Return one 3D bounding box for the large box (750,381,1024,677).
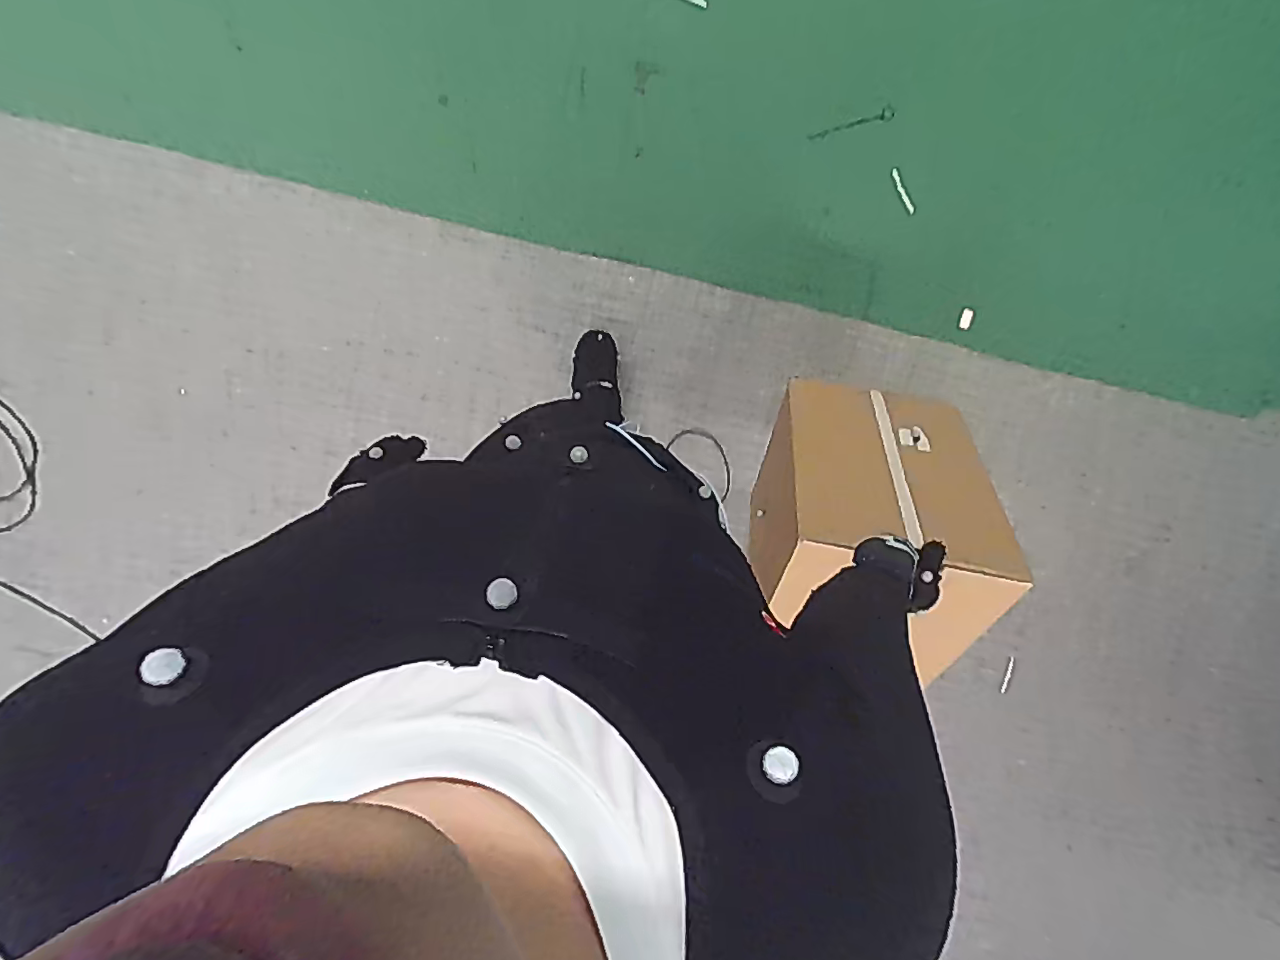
[{"bbox_3d":[0.383,0.079,0.973,0.320,0.408,0.320,12,133,2],"label":"large box"}]
